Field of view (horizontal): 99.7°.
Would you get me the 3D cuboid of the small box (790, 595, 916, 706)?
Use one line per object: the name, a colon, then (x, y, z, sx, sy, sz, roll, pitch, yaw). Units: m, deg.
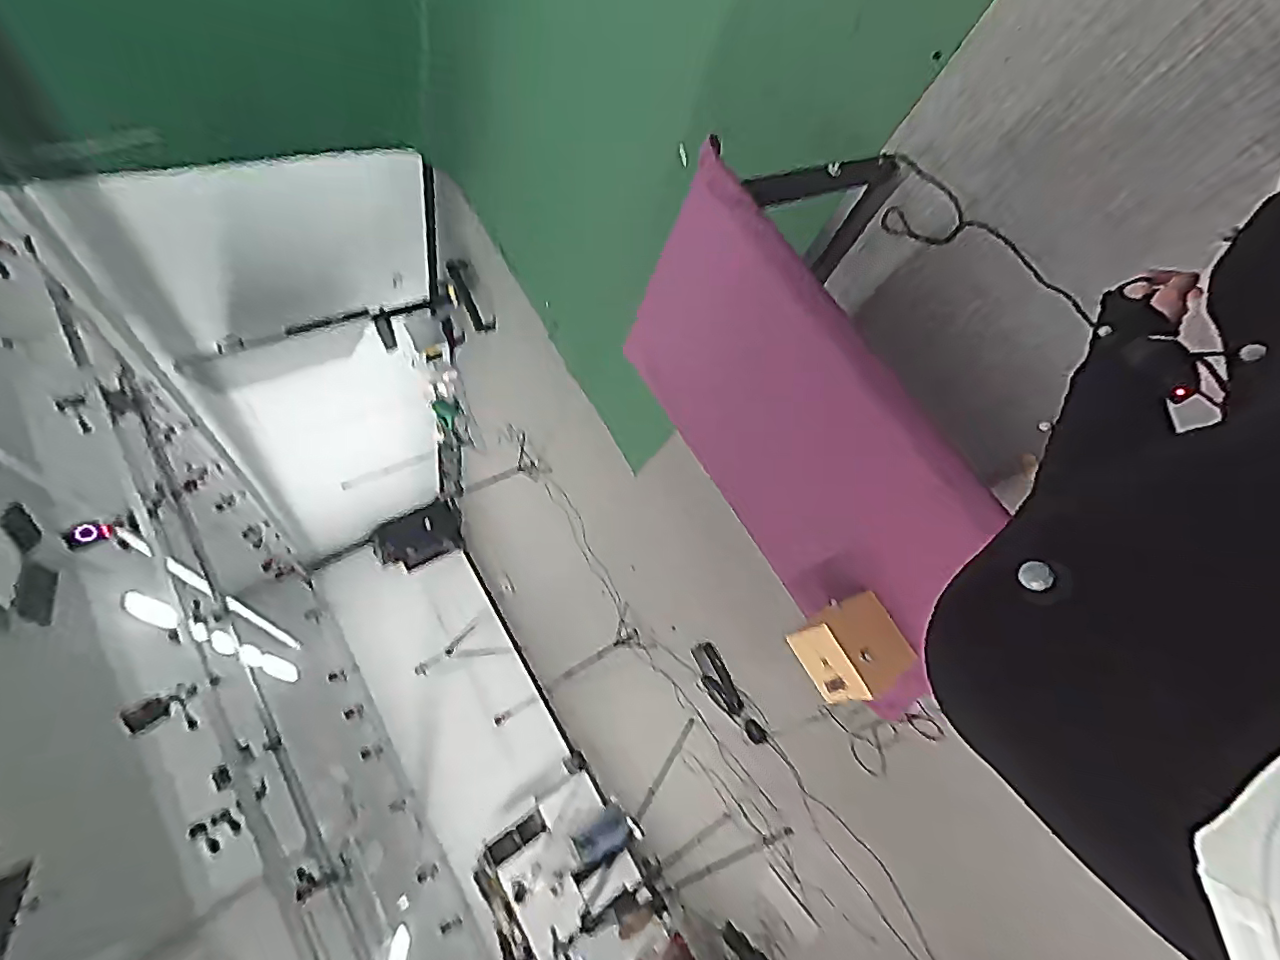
small box: (0.493, 0.395, 1.251, 0.179, 0.176, 0.168, 58, 151, 13)
